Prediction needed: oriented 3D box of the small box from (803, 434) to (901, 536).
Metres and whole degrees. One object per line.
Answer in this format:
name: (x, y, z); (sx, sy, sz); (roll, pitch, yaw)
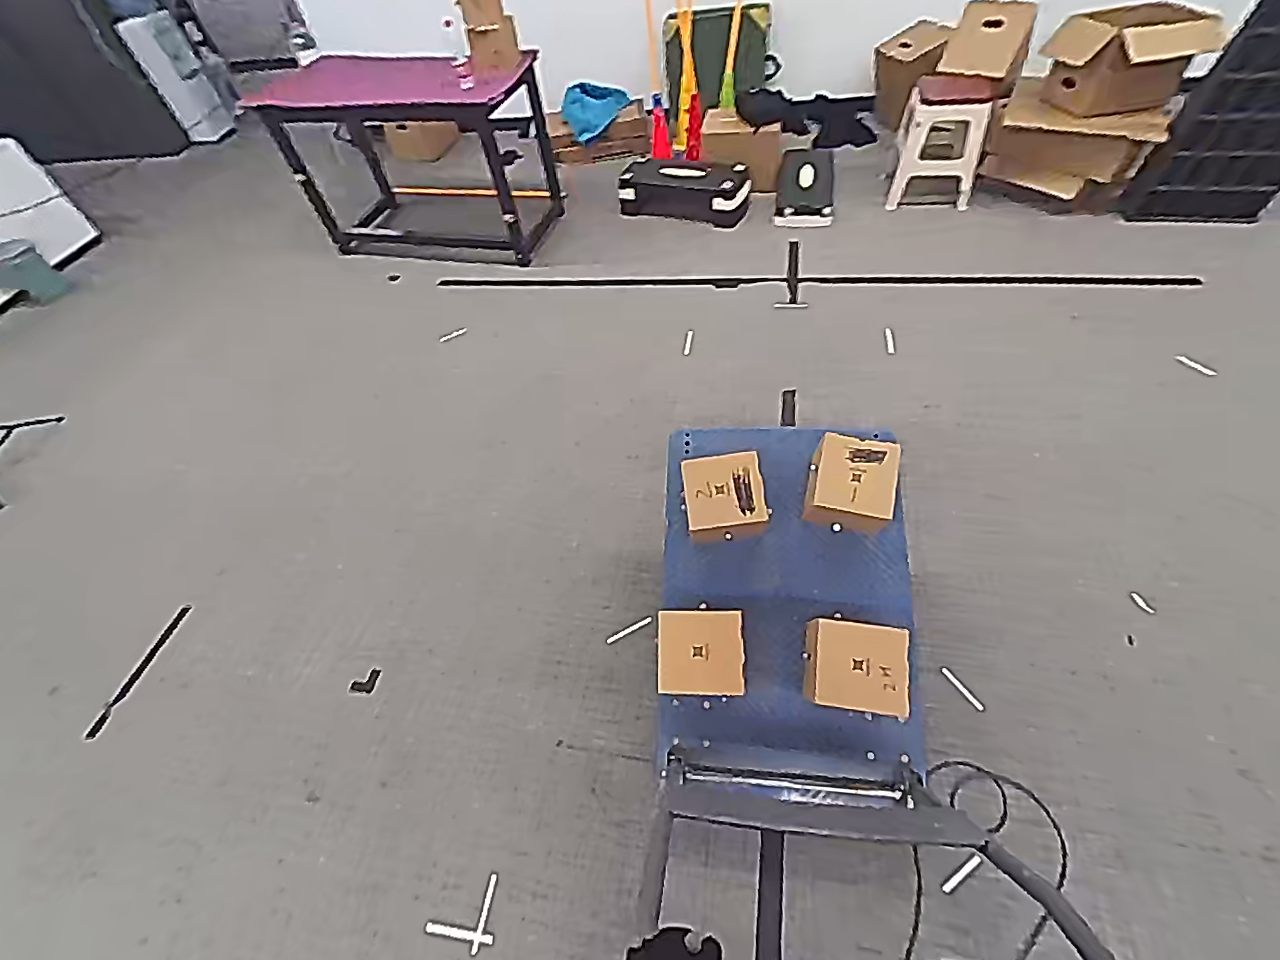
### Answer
small box: (0.484, 0.016, 1.255); (0.168, 0.176, 0.179); (12, 75, 11)

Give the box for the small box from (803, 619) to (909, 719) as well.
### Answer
small box: (0.446, 0.393, 1.136); (0.179, 0.176, 0.168); (6, 73, 9)

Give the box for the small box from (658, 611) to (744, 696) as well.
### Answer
small box: (0.132, 0.379, 1.182); (0.179, 0.176, 0.168); (-1, 72, 6)
